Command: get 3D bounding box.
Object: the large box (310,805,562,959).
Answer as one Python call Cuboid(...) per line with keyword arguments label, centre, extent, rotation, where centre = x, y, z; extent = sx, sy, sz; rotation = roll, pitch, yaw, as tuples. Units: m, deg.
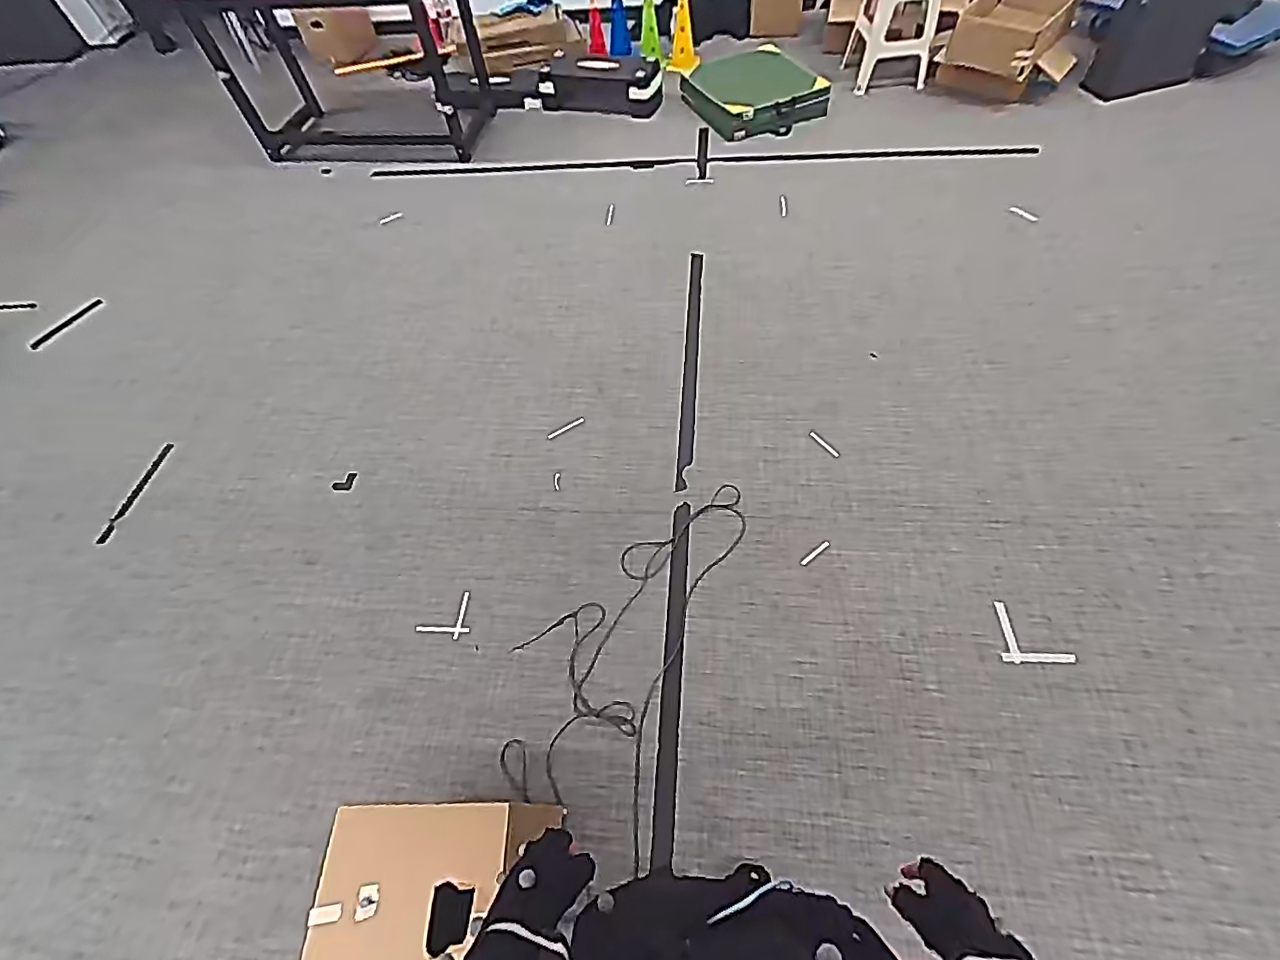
Cuboid(label="large box", centre=(-0.350, 0.802, 1.023), extent=(0.320, 0.408, 0.320), rotation=(-3, 58, 5))
